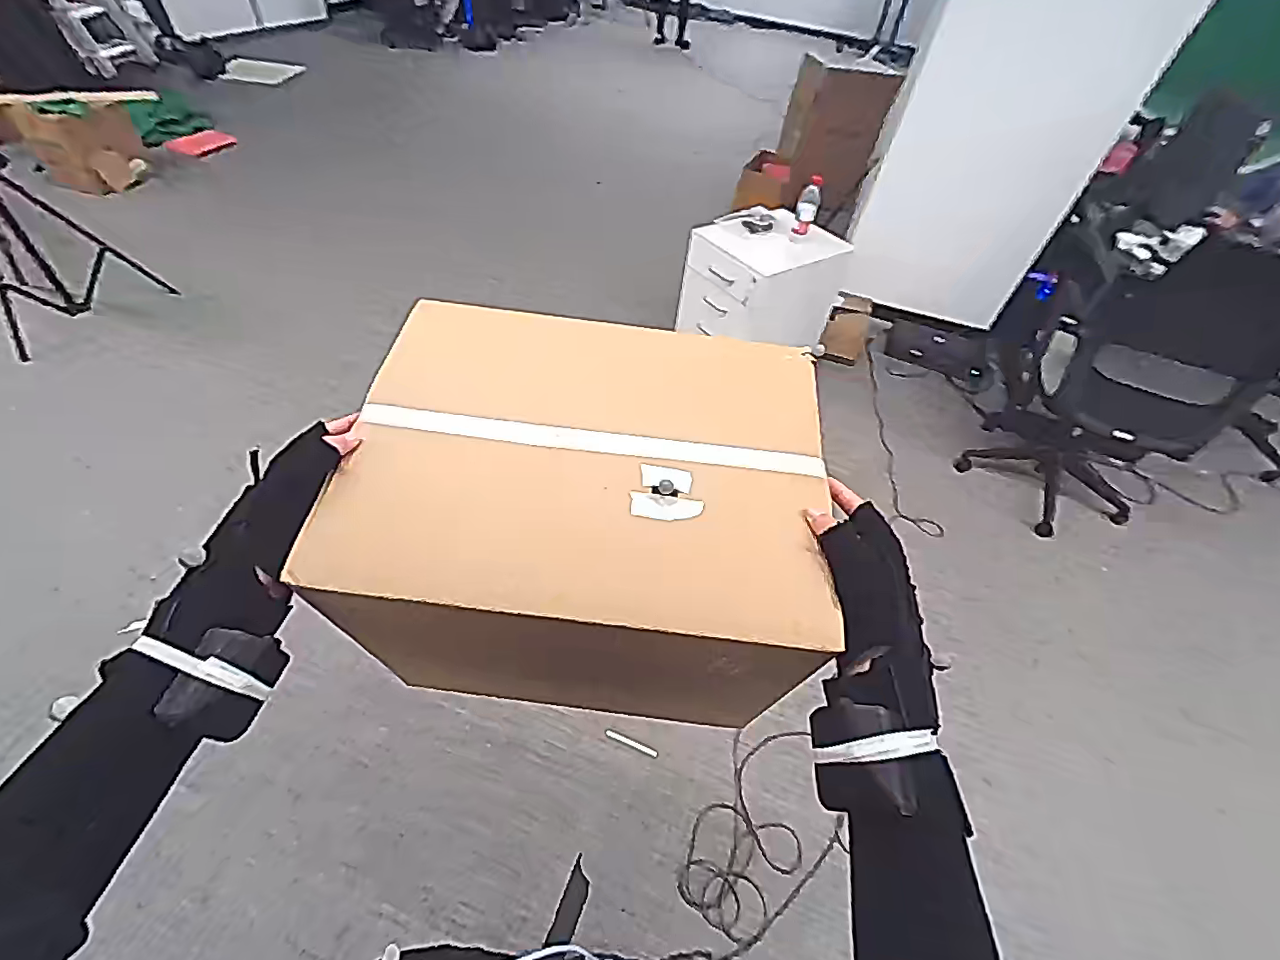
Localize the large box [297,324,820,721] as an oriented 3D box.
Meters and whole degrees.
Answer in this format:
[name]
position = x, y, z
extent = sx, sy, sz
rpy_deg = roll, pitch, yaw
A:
[large box]
position = -0.061, 0.064, 0.609
extent = 0.408, 0.320, 0.320
rpy_deg = 7, 57, -1
